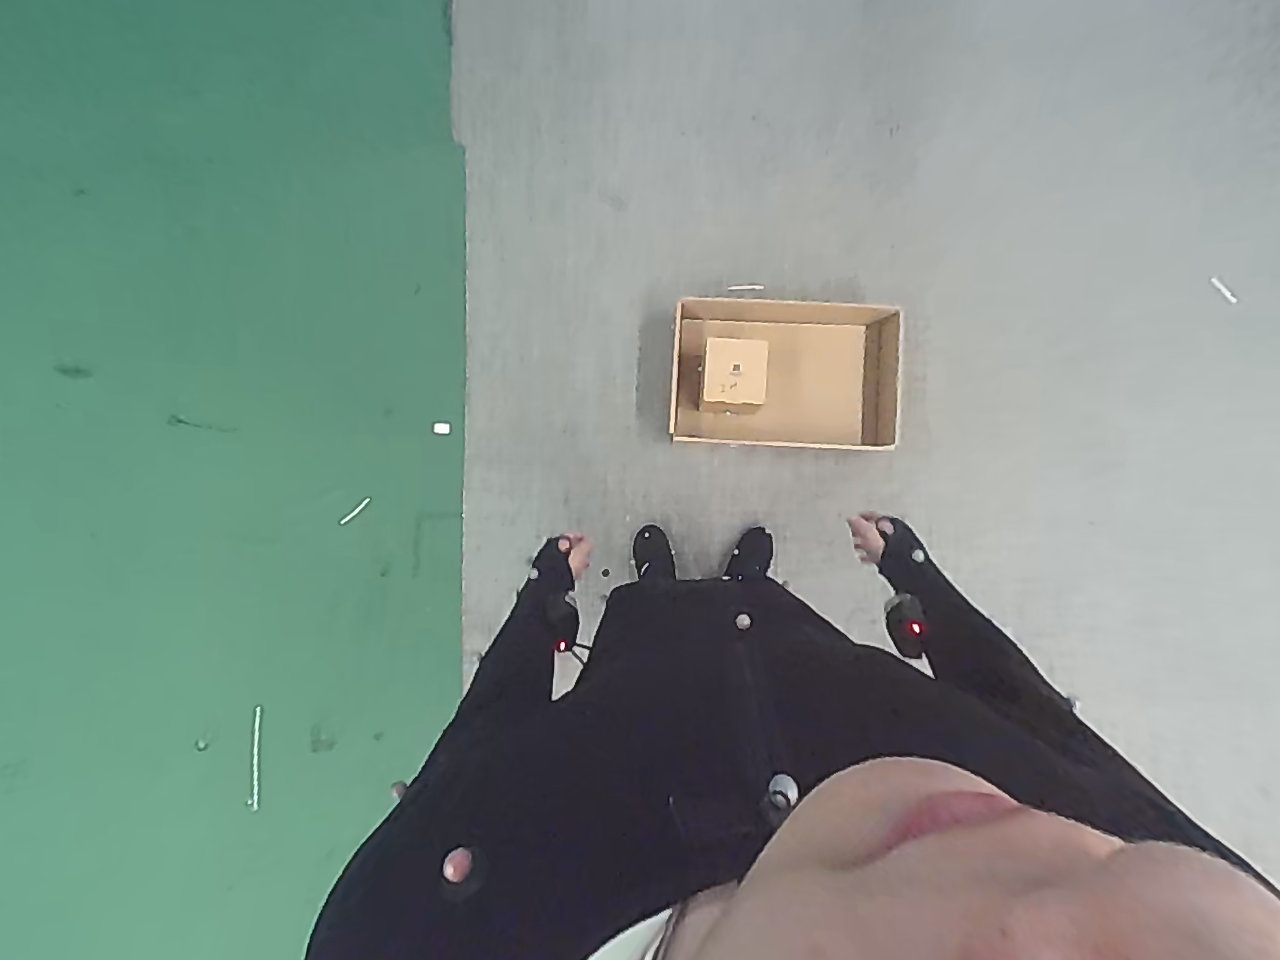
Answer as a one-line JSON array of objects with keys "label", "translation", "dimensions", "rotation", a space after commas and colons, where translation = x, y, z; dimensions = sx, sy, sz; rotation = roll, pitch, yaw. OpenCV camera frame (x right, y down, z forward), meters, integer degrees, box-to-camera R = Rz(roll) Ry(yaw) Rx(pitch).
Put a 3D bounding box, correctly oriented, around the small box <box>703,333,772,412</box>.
[{"label": "small box", "translation": [0.267, -0.295, 1.510], "dimensions": [0.168, 0.176, 0.179], "rotation": [4, 87, 3]}]
